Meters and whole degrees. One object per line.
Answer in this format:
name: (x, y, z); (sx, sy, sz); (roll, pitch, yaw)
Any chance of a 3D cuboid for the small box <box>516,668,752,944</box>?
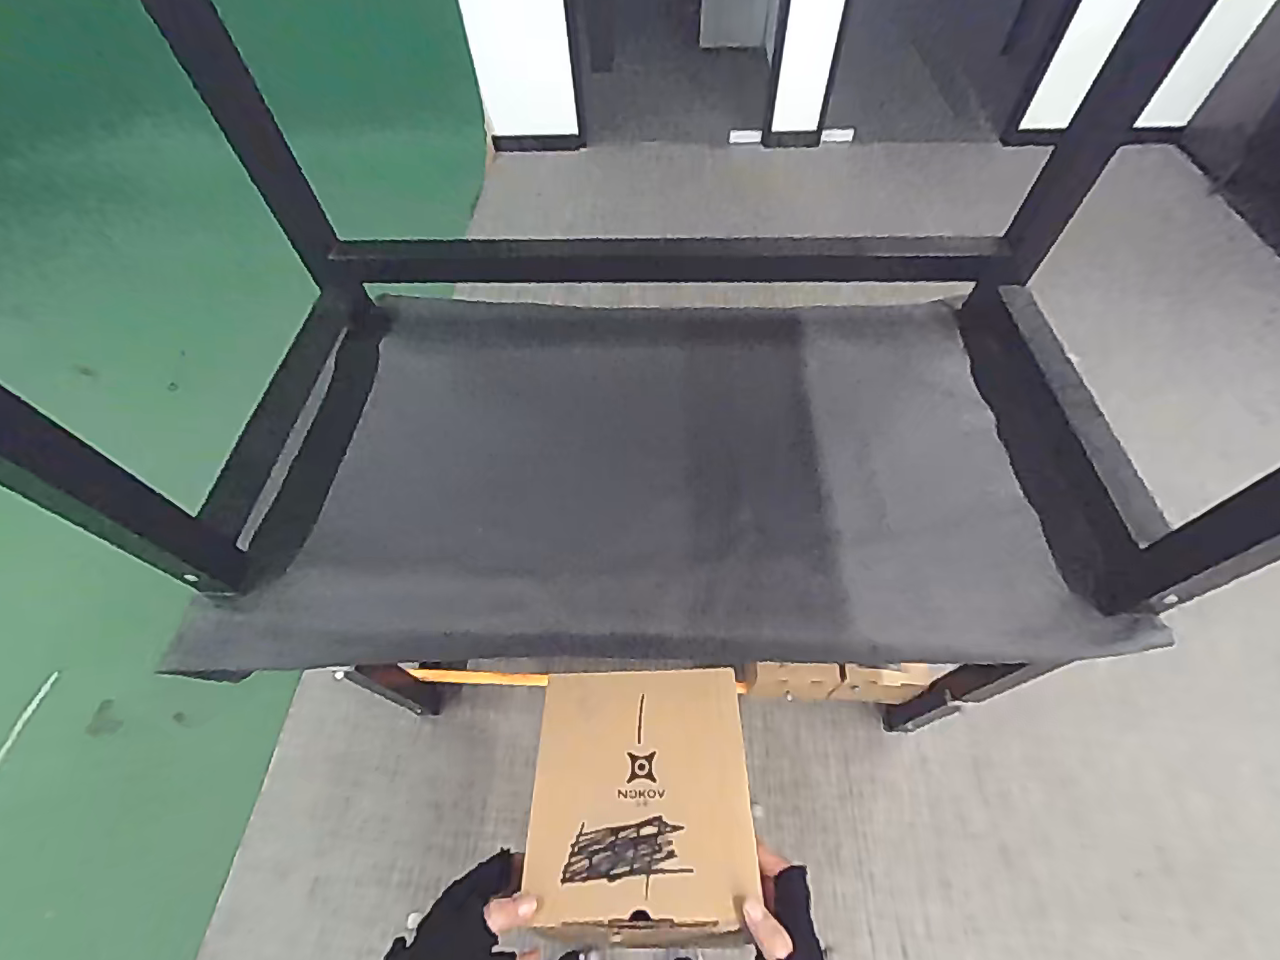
small box: (0.004, 0.288, 0.477); (0.168, 0.176, 0.179); (-2, 43, 3)
